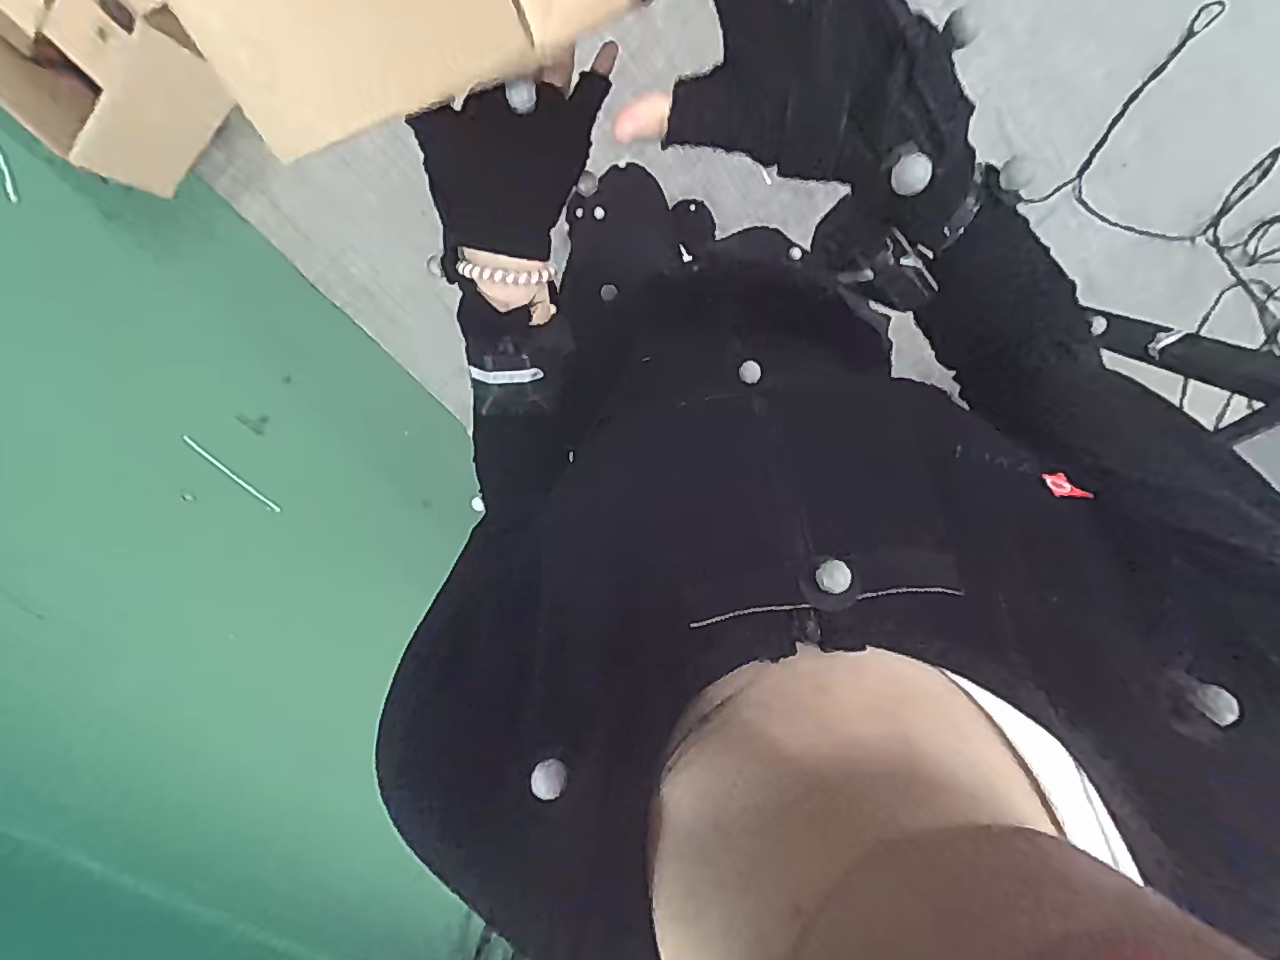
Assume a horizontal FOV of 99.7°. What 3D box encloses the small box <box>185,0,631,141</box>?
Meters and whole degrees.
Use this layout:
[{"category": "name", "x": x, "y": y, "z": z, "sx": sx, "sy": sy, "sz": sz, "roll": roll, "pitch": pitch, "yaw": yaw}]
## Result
[{"category": "small box", "x": -0.090, "y": -0.266, "z": 0.210, "sx": 0.179, "sy": 0.176, "sz": 0.168, "roll": 7, "pitch": 140, "yaw": 31}]
